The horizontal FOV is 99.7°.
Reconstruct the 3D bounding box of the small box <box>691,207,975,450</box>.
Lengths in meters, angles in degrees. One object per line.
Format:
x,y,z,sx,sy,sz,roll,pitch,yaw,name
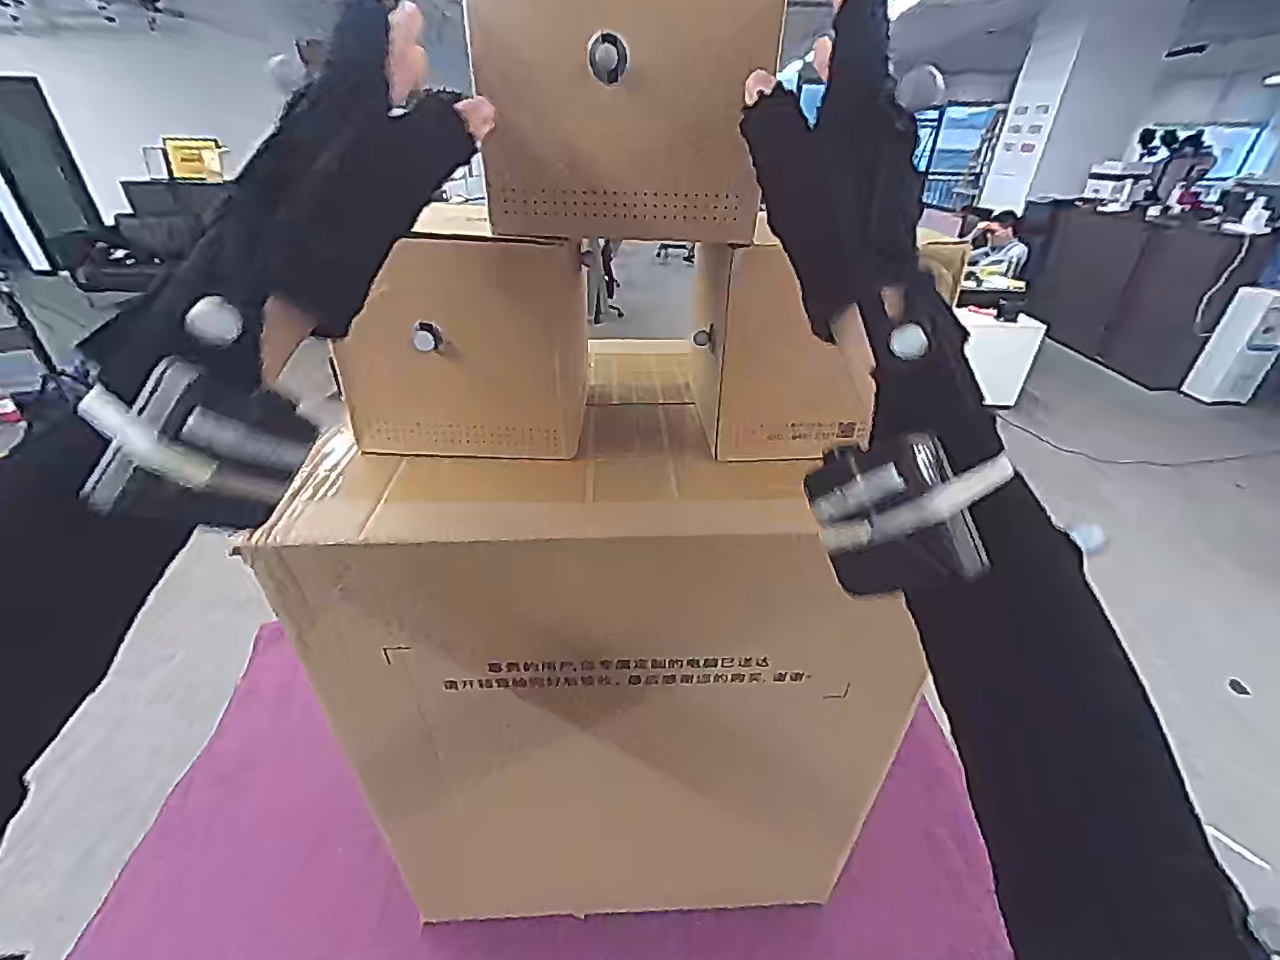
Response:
0.140,-0.134,0.469,0.168,0.176,0.179,-1,31,-4,small box

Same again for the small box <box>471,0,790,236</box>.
-0.002,-0.271,0.373,0.179,0.176,0.168,2,32,2,small box

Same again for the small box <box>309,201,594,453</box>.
-0.132,-0.134,0.460,0.179,0.176,0.168,2,32,-2,small box
